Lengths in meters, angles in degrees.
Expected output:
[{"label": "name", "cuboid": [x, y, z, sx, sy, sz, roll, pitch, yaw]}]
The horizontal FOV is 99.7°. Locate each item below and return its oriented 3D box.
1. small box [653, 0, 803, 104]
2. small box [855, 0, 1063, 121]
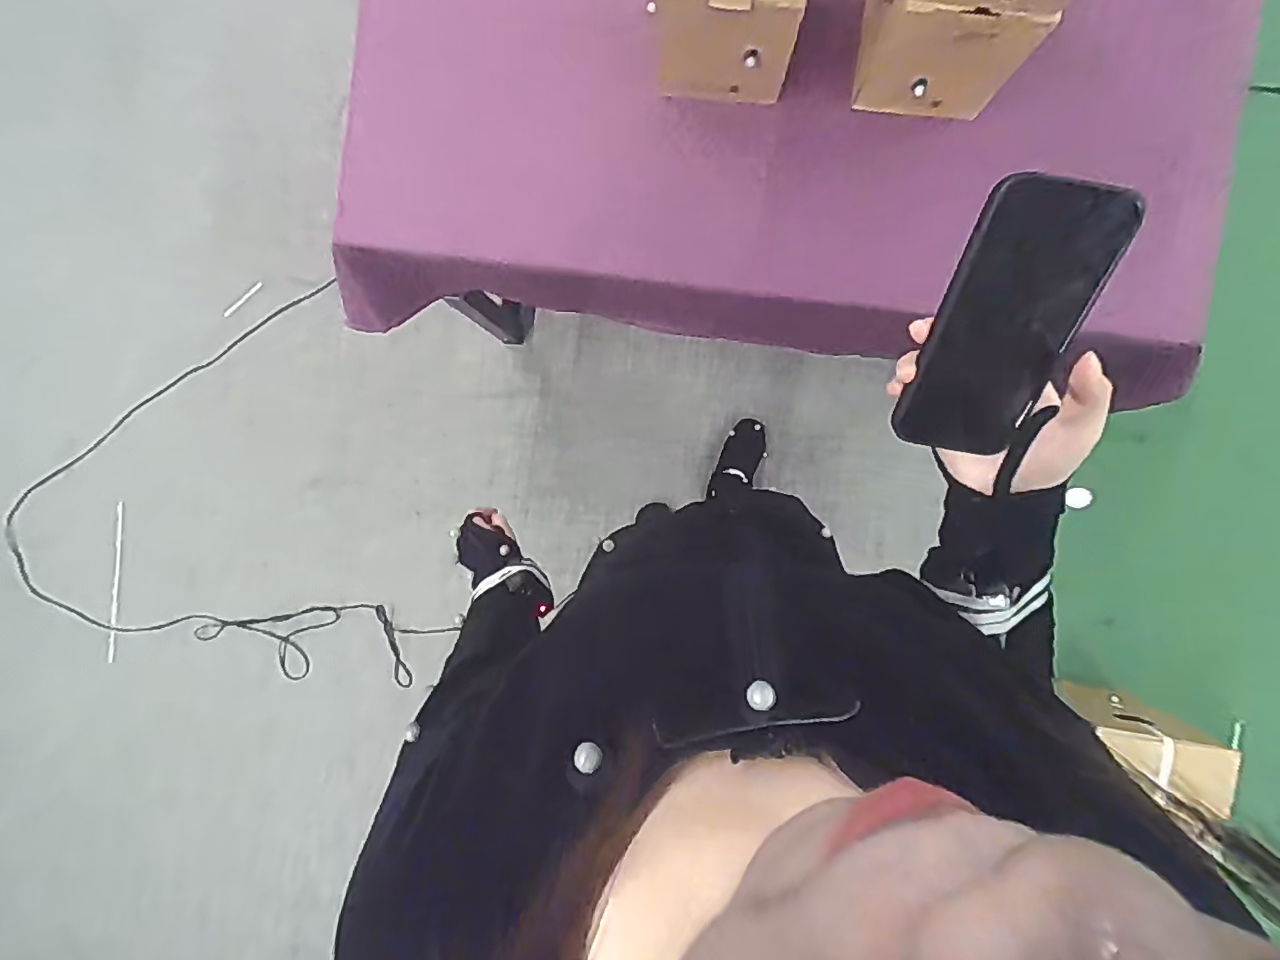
[{"label": "small box", "cuboid": [0.110, -0.602, 0.662, 0.168, 0.176, 0.179, 7, 92, 2]}, {"label": "small box", "cuboid": [0.374, -0.577, 0.648, 0.168, 0.176, 0.179, 7, 93, 3]}]
